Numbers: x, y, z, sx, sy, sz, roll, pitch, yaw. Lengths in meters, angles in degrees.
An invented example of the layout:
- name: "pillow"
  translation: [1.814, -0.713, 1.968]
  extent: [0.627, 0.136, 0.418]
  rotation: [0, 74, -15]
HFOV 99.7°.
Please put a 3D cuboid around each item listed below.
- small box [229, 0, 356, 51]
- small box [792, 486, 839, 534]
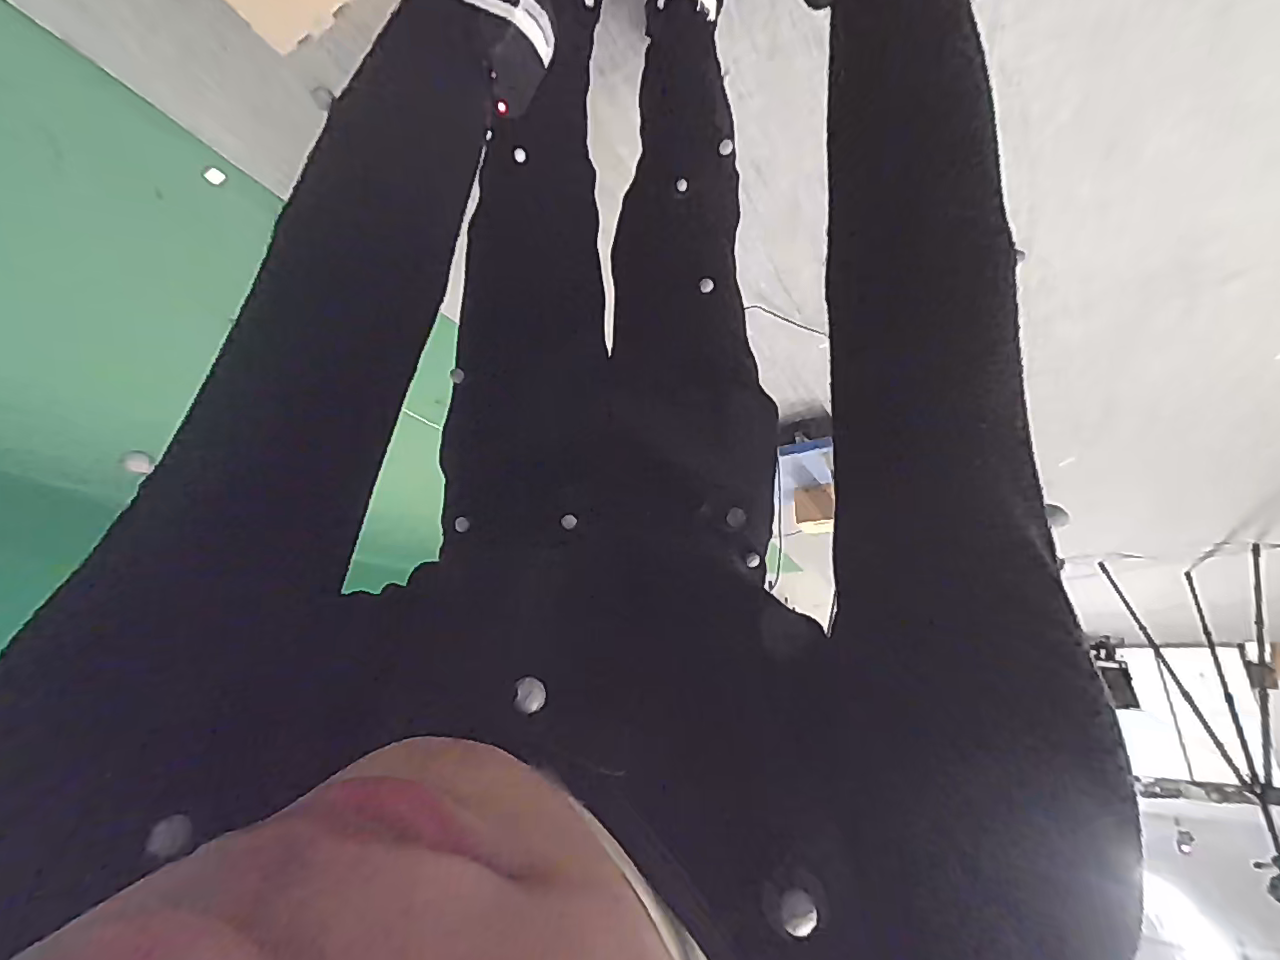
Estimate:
- name: "small box"
  translation: [-0.424, -0.666, 0.621]
  extent: [0.168, 0.176, 0.179]
  rotation: [-8, 157, 26]
- name: "small box"
  translation: [0.782, 0.131, 2.411]
  extent: [0.168, 0.176, 0.179]
  rotation: [-10, 156, 28]
